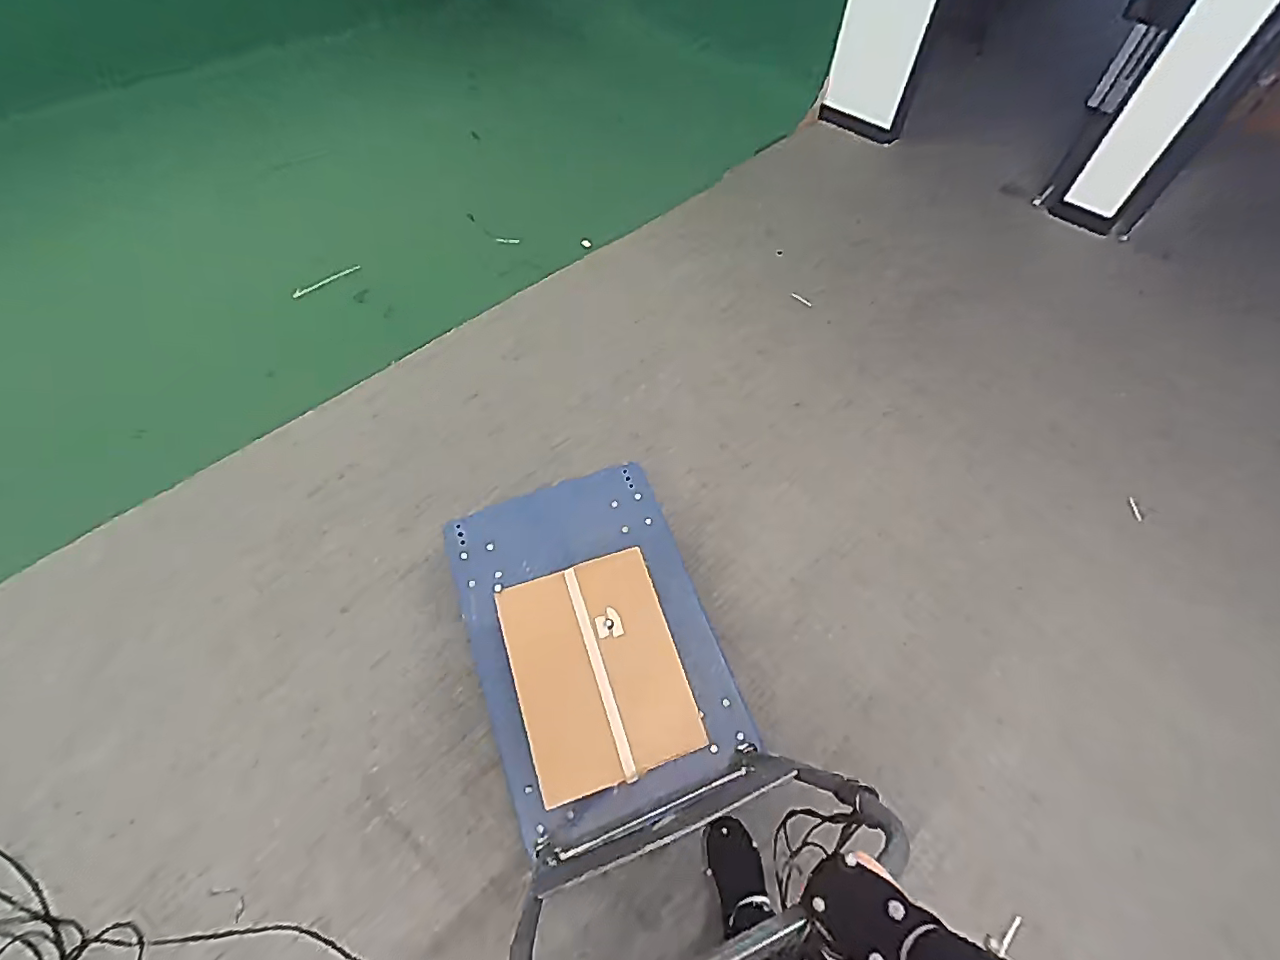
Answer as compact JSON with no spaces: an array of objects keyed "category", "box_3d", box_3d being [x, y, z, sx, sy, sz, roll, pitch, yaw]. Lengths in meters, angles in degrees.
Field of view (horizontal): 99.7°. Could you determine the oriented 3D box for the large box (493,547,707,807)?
[{"category":"large box","box_3d":[-0.090,0.415,1.162,0.320,0.320,0.408,-16,66,-11]}]
